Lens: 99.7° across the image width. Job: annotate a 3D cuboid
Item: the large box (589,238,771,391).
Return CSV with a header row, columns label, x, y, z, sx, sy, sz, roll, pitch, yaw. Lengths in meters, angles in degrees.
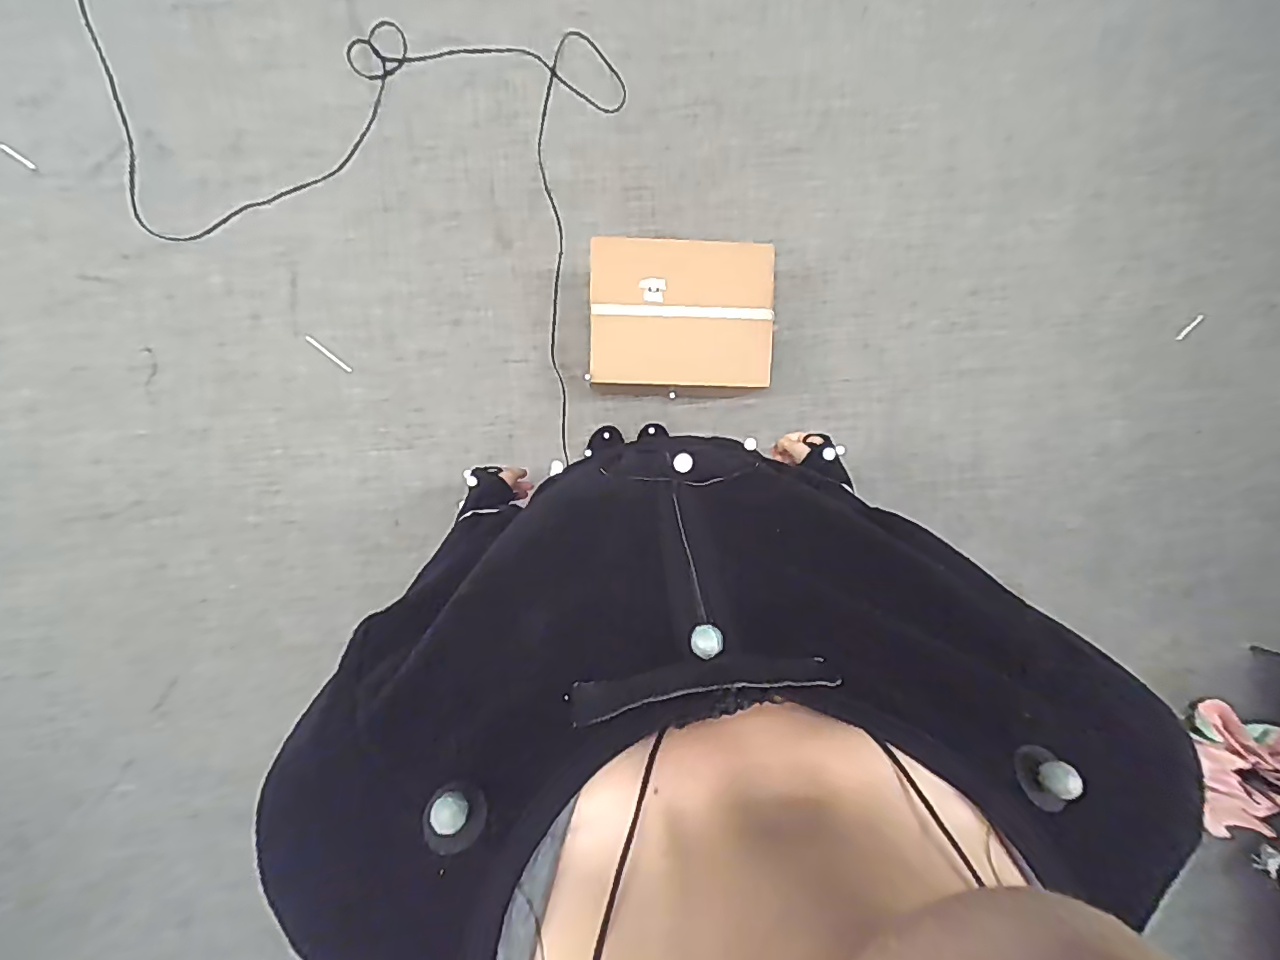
label,x,y,z,sx,sy,sz,roll,pitch,yaw
large box,0.085,-0.384,1.338,0.408,0.320,0.320,1,94,-2
